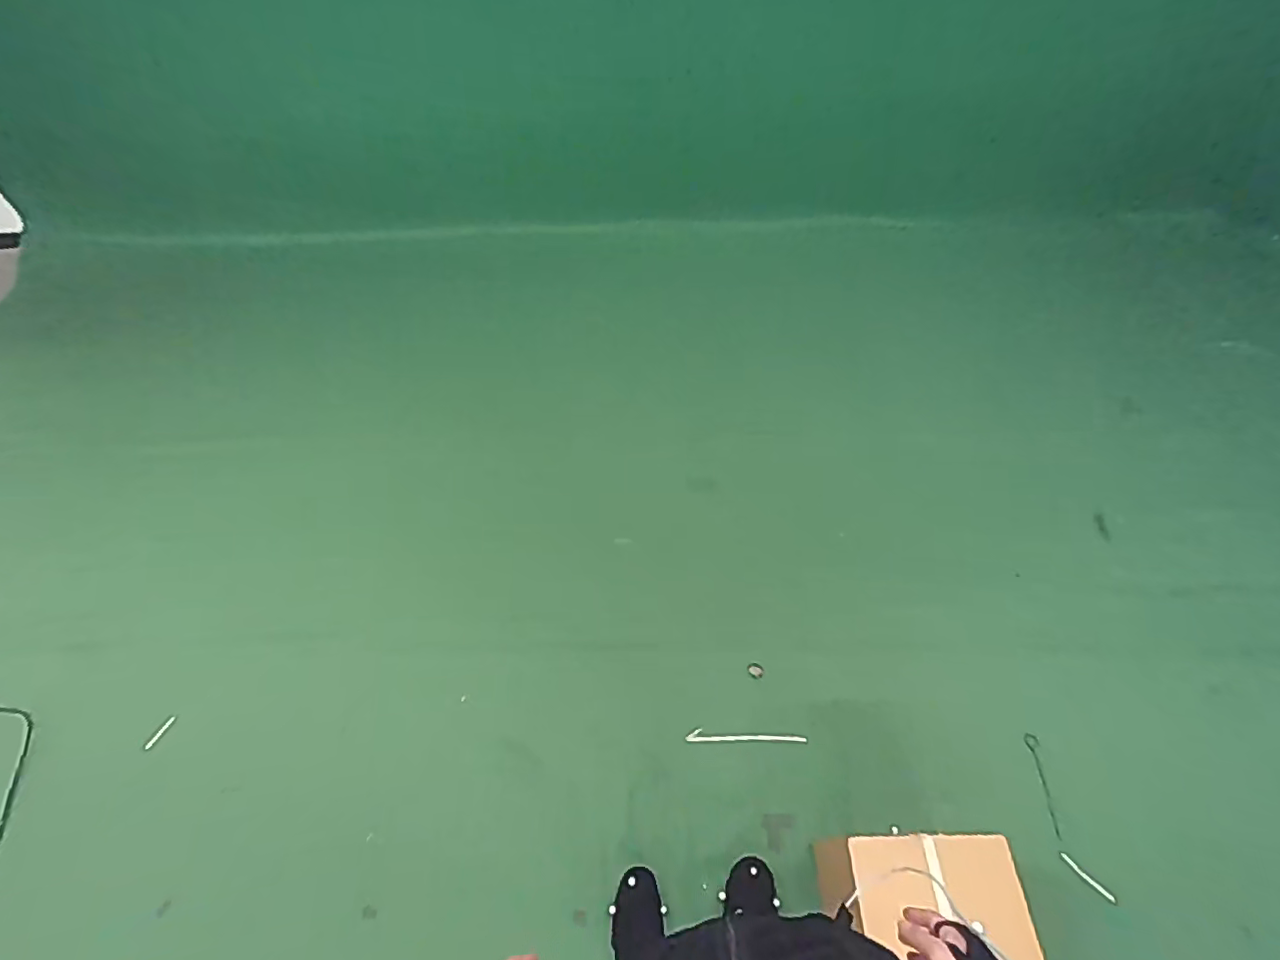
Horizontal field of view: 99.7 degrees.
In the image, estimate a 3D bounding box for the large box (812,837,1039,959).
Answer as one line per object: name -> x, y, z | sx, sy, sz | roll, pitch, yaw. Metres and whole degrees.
large box -> 0.571, 0.967, 1.089 | 0.320, 0.320, 0.408 | -2, 57, 1
